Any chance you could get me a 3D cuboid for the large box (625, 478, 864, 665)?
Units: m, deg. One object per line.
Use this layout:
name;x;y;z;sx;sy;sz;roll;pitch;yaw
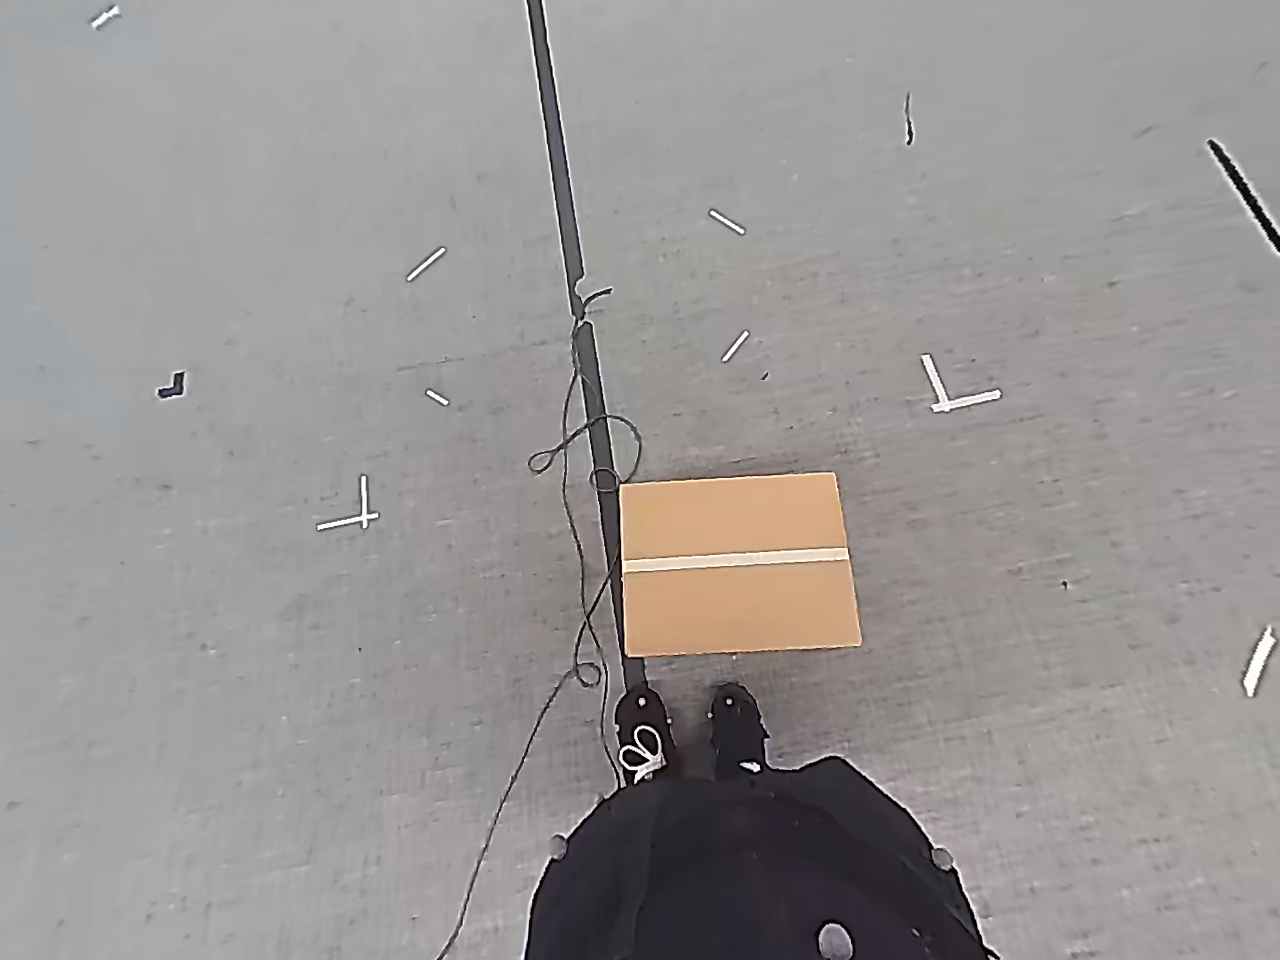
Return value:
large box;0.184;0.200;1.110;0.408;0.320;0.320;-3;74;2
